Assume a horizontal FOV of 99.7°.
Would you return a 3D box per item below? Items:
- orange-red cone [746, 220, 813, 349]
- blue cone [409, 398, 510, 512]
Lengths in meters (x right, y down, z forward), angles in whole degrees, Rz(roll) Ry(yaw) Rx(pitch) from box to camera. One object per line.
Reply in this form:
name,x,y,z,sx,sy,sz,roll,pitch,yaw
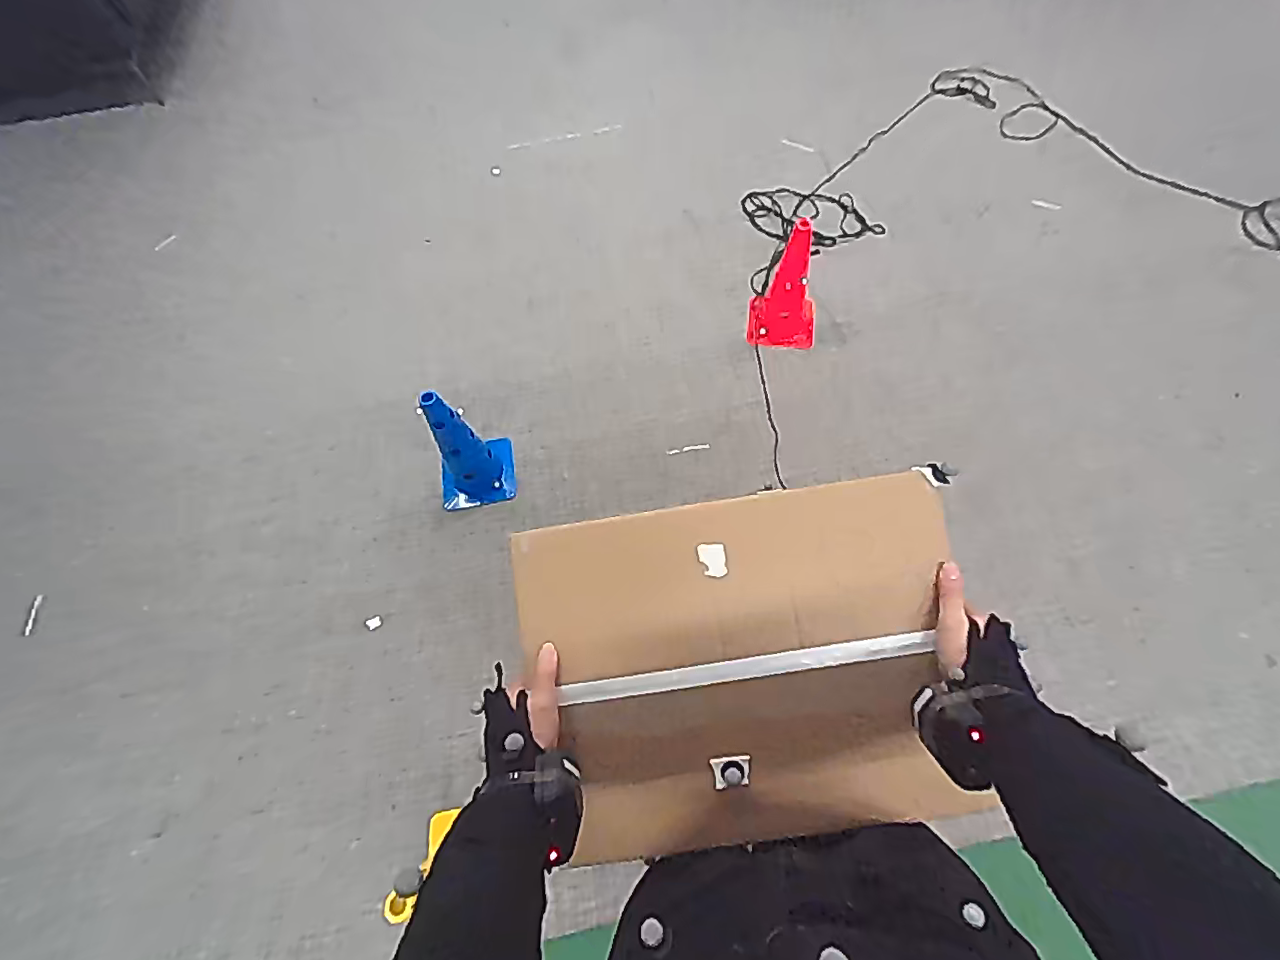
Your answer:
orange-red cone,0.425,-0.566,1.522,0.199,0.360,0.198,8,64,7
blue cone,-0.470,-0.086,1.359,0.192,0.380,0.193,-11,62,-1
